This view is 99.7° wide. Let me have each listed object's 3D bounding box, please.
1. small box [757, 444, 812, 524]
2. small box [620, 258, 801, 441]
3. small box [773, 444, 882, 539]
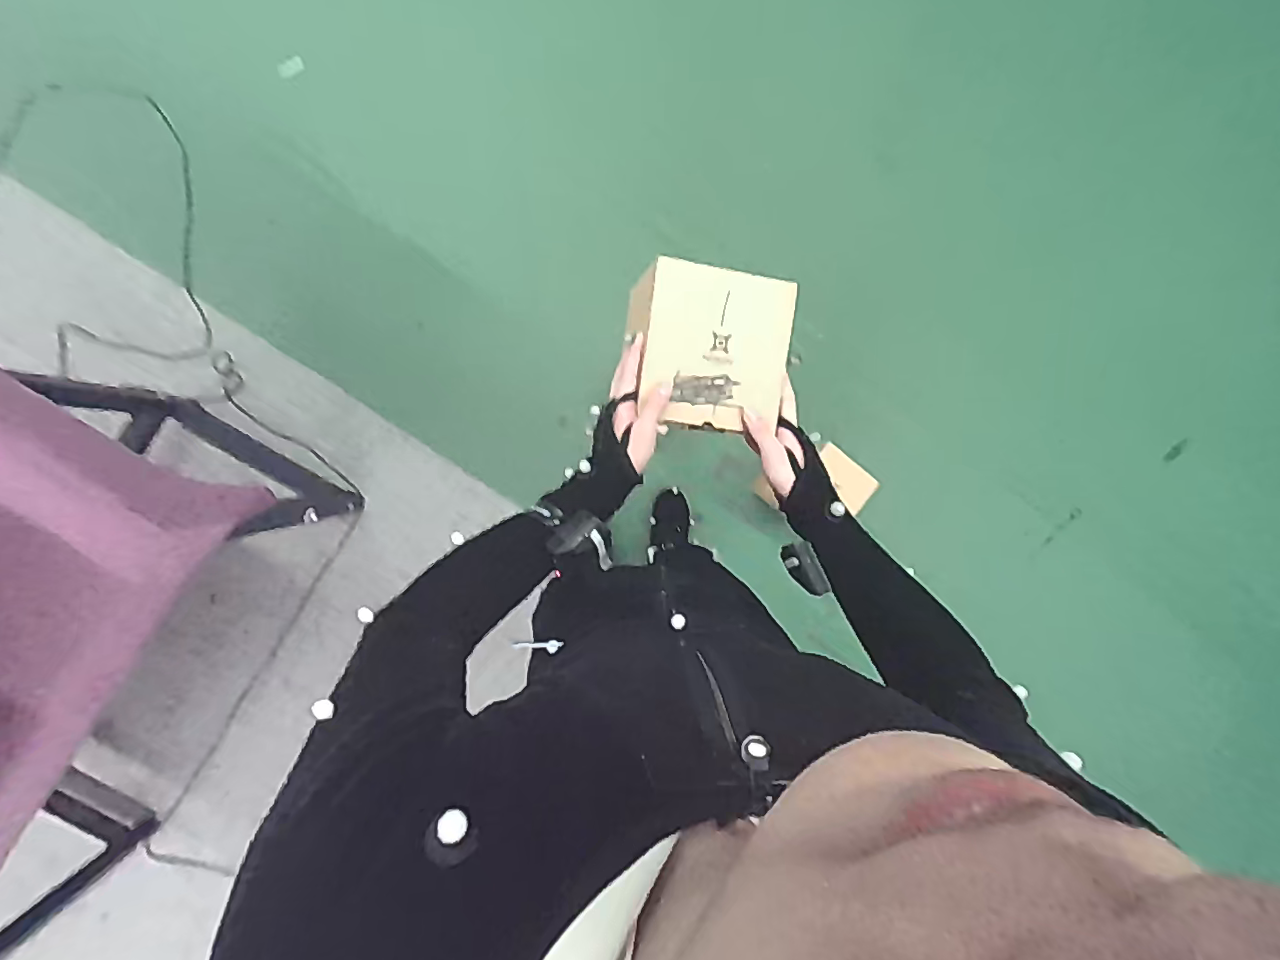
[{"bbox_3d":[0.461,0.013,1.552,0.168,0.176,0.179,37,90,-4],"label":"small box"},{"bbox_3d":[0.073,-0.147,0.666,0.168,0.176,0.179,7,94,-12],"label":"small box"},{"bbox_3d":[0.469,0.025,1.388,0.168,0.176,0.179,39,90,-4],"label":"small box"}]
